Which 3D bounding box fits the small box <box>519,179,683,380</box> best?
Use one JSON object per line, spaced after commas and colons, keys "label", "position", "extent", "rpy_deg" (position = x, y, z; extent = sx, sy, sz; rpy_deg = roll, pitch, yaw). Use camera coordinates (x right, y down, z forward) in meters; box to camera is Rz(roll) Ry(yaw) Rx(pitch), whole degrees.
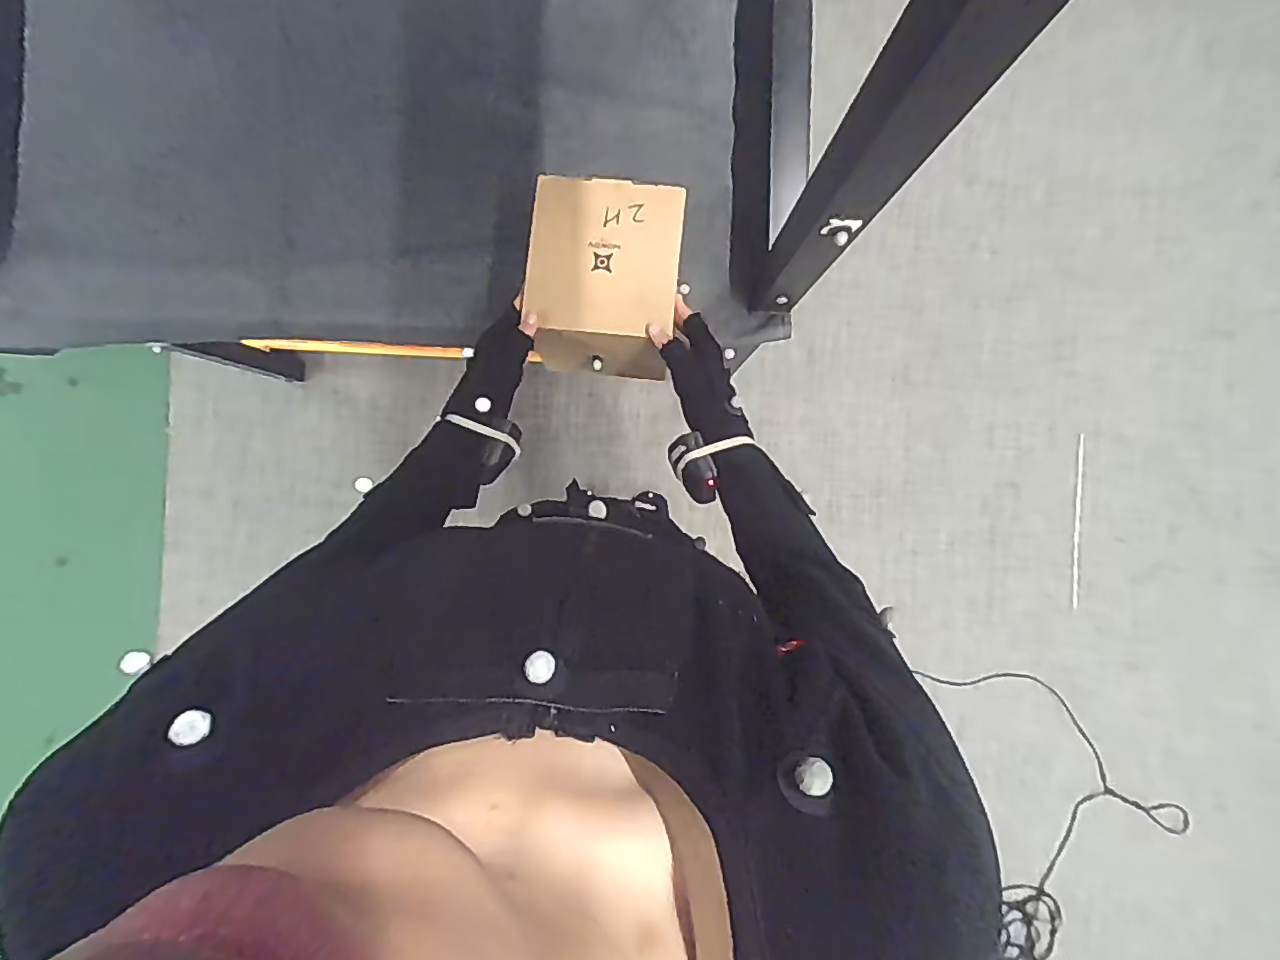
{"label": "small box", "position": [-0.041, -0.232, 0.668], "extent": [0.168, 0.176, 0.179], "rpy_deg": [6, 84, 0]}
